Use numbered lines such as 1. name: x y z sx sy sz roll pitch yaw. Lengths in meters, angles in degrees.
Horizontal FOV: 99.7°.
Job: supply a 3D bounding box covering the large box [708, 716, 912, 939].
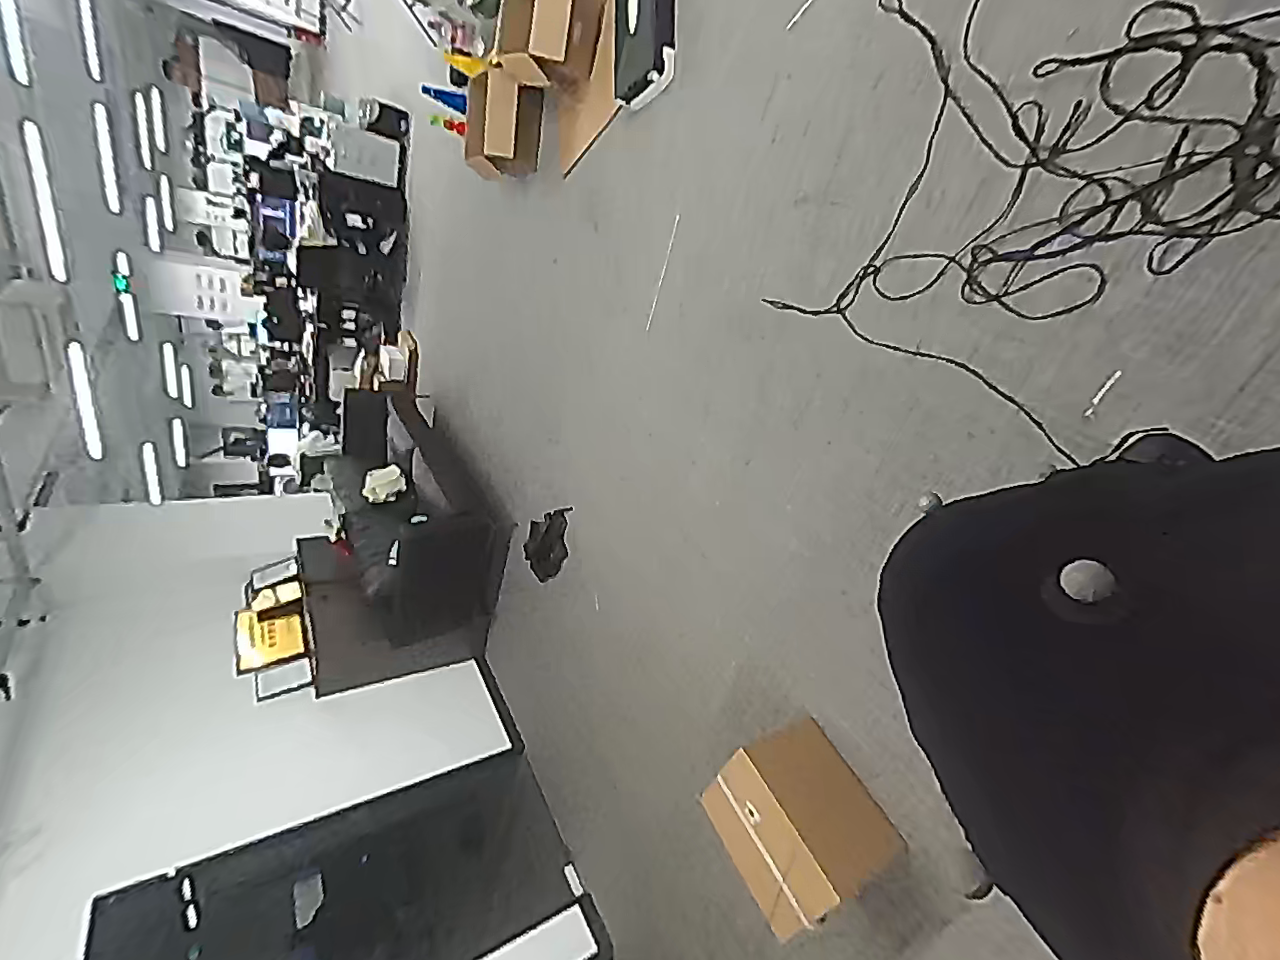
1. large box: 0.474 0.978 1.564 0.408 0.320 0.320 54 133 40
